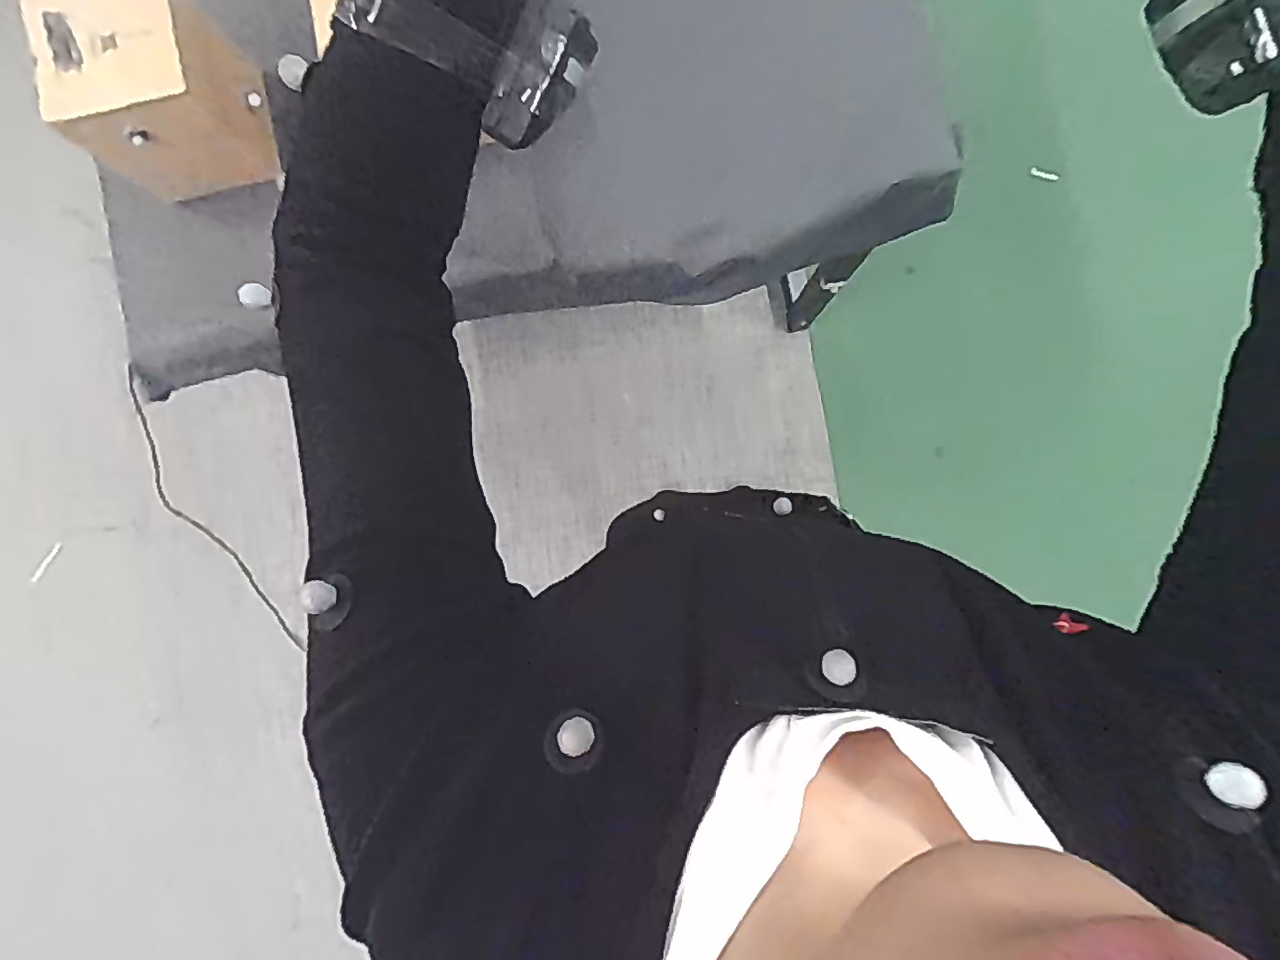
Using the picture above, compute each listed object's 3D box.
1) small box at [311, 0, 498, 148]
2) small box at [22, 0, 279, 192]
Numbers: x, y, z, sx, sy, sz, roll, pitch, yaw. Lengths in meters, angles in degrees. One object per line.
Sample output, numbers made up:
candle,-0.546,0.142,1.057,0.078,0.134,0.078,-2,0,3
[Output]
small box,-0.295,-0.564,0.699,0.168,0.176,0.179,-10,88,2
small box,-0.622,-0.511,0.707,0.179,0.176,0.168,-13,88,0
